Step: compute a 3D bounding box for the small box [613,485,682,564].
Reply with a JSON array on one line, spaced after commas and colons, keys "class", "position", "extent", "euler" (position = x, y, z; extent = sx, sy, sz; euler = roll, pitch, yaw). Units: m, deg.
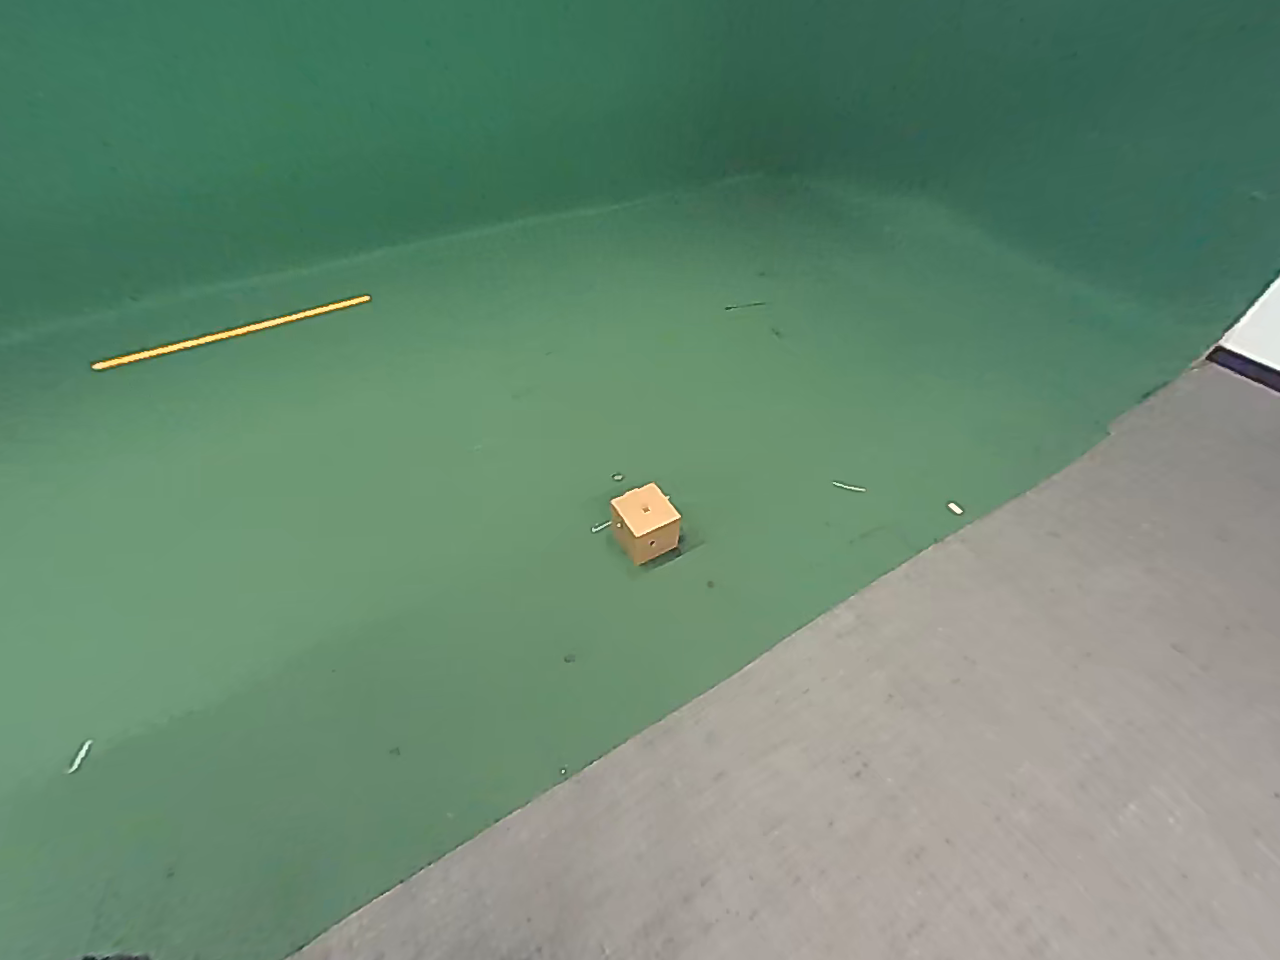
[{"class": "small box", "position": [0.027, 0.156, 1.797], "extent": [0.168, 0.176, 0.179], "euler": [-24, 50, -19]}]
